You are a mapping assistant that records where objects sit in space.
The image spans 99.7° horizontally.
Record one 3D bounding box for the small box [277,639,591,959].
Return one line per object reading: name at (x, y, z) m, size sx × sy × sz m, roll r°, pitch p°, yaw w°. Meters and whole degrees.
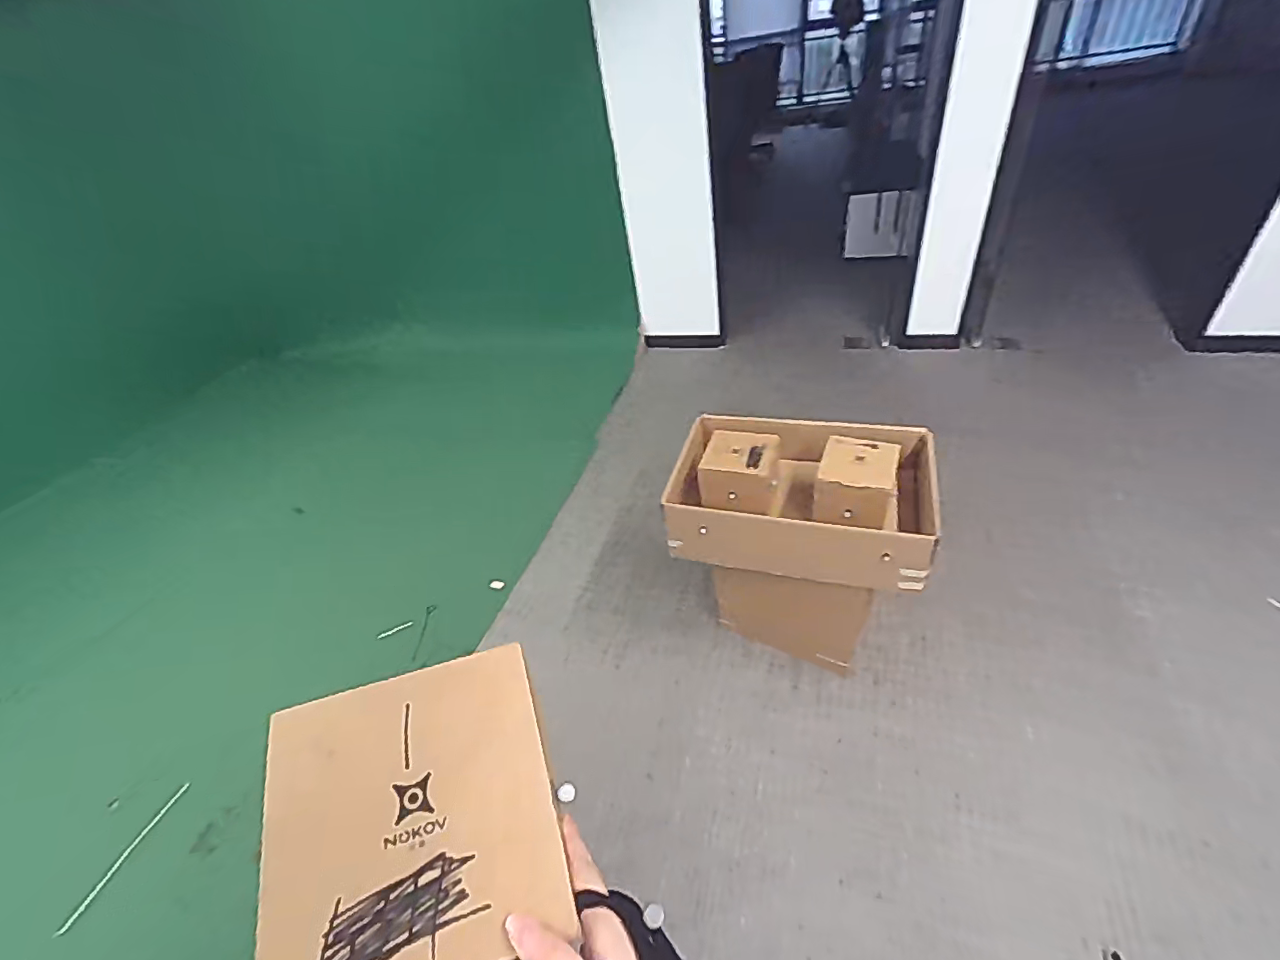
small box at (-0.134, 0.246, 0.397) m, size 0.168 × 0.176 × 0.179 m, roll -12°, pitch 55°, yaw -13°
